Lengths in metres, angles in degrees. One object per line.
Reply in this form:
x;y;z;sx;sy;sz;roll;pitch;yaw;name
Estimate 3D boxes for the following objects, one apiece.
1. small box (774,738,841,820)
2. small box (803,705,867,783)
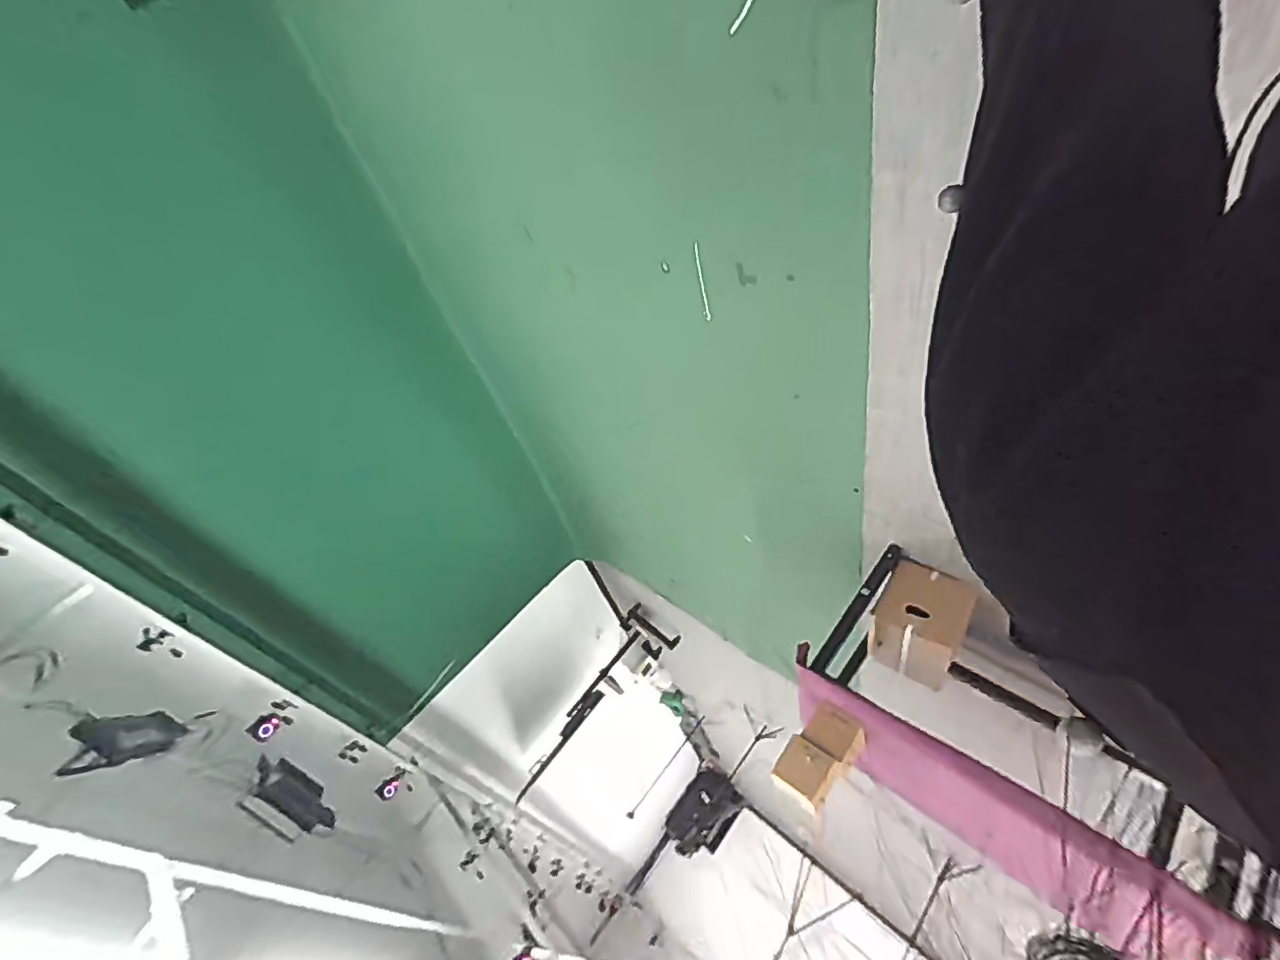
0.604;1.067;1.937;0.168;0.176;0.179;22;148;39;small box
0.725;0.974;1.999;0.168;0.176;0.179;23;149;39;small box
